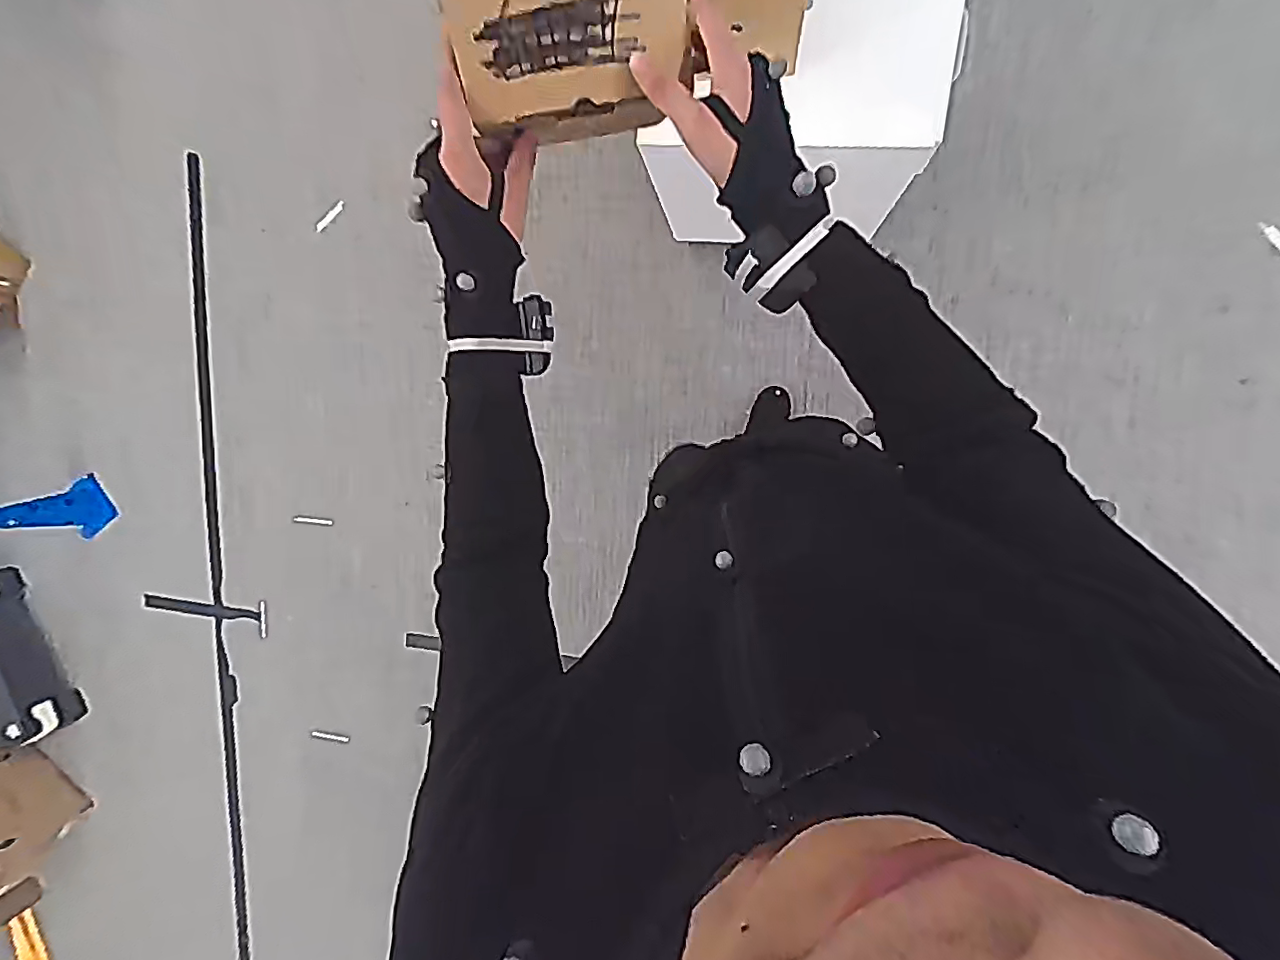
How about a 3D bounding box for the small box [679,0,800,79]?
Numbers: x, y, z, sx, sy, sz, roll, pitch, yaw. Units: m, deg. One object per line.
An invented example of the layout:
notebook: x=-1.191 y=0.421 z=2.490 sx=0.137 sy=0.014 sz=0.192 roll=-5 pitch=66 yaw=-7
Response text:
small box: x=0.161 y=-0.767 z=0.848 sx=0.179 sy=0.176 sz=0.168 roll=4 pitch=98 yaw=9
